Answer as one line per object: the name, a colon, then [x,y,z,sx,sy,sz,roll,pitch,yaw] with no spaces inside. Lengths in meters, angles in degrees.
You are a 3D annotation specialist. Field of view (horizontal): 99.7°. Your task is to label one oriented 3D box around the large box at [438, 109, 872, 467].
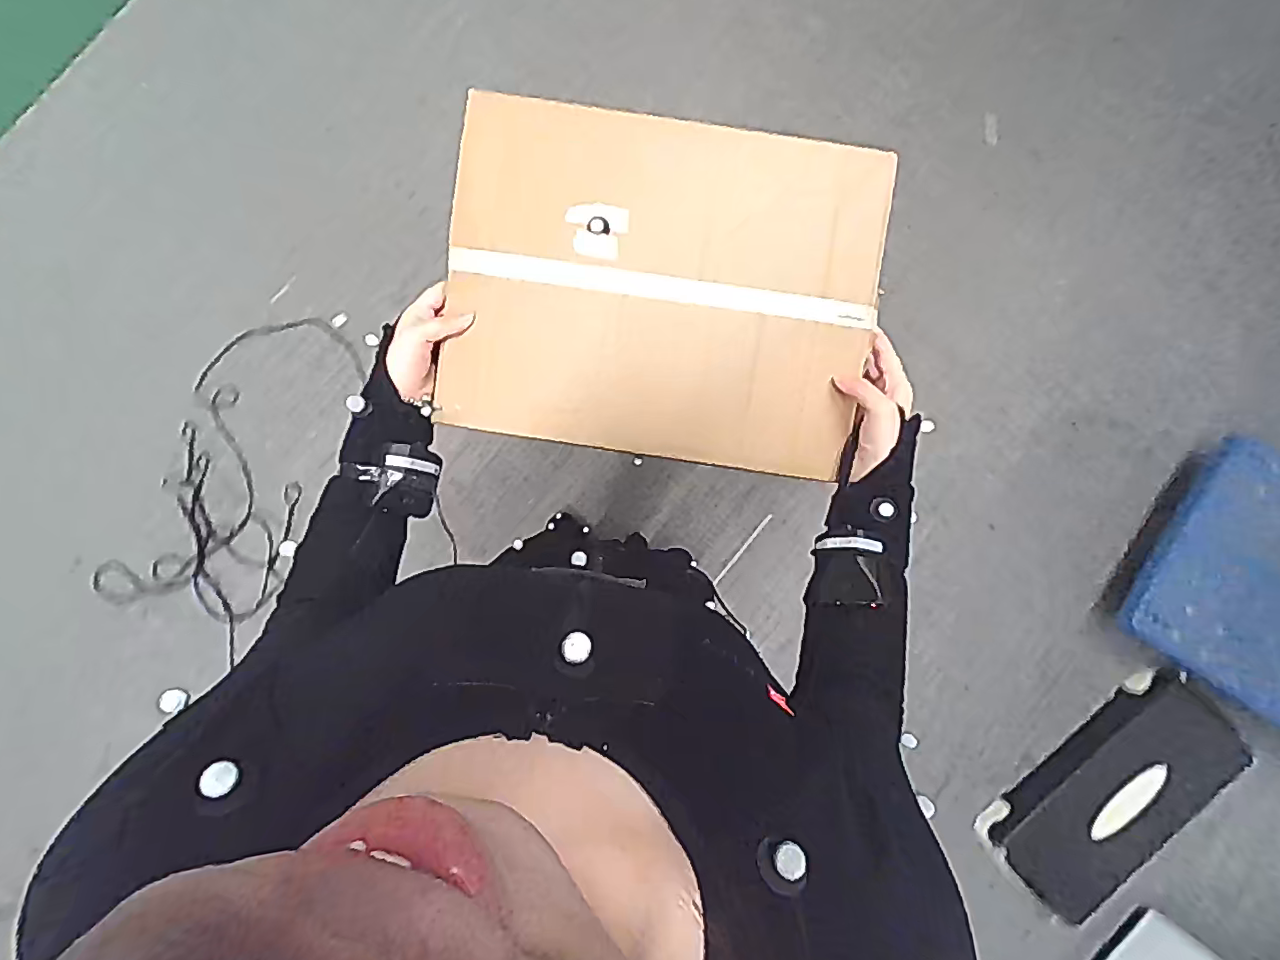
large box: [0.015,-0.198,0.674,0.408,0.320,0.320,7,94,1]
